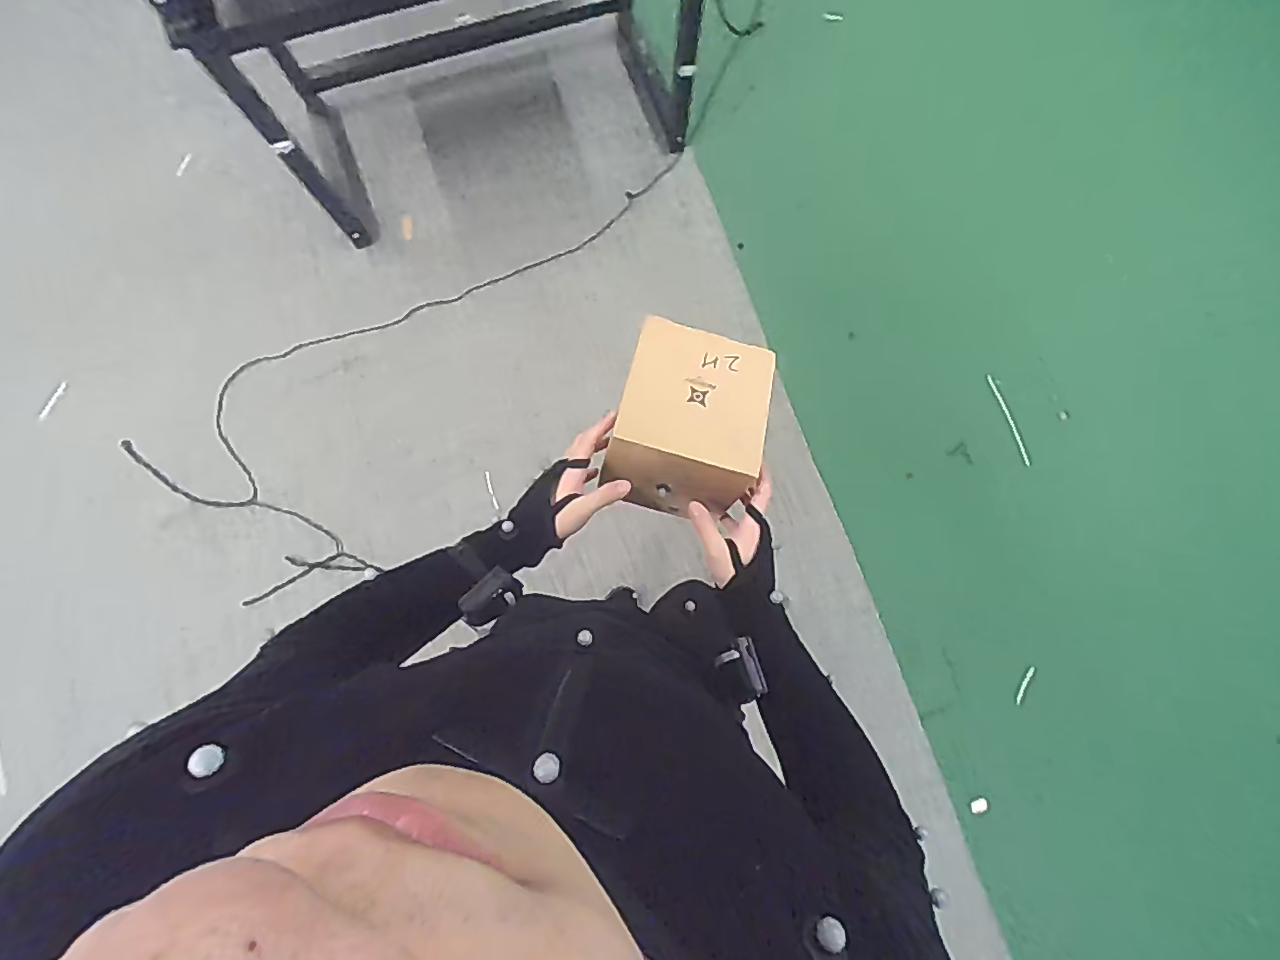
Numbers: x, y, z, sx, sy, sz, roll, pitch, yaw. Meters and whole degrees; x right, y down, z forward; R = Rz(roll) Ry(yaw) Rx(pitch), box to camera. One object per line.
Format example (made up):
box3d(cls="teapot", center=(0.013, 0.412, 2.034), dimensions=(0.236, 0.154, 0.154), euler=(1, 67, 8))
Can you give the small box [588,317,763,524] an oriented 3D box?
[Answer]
box3d(cls="small box", center=(0.037, -0.063, 0.675), dimensions=(0.168, 0.176, 0.179), euler=(16, 63, -5))
